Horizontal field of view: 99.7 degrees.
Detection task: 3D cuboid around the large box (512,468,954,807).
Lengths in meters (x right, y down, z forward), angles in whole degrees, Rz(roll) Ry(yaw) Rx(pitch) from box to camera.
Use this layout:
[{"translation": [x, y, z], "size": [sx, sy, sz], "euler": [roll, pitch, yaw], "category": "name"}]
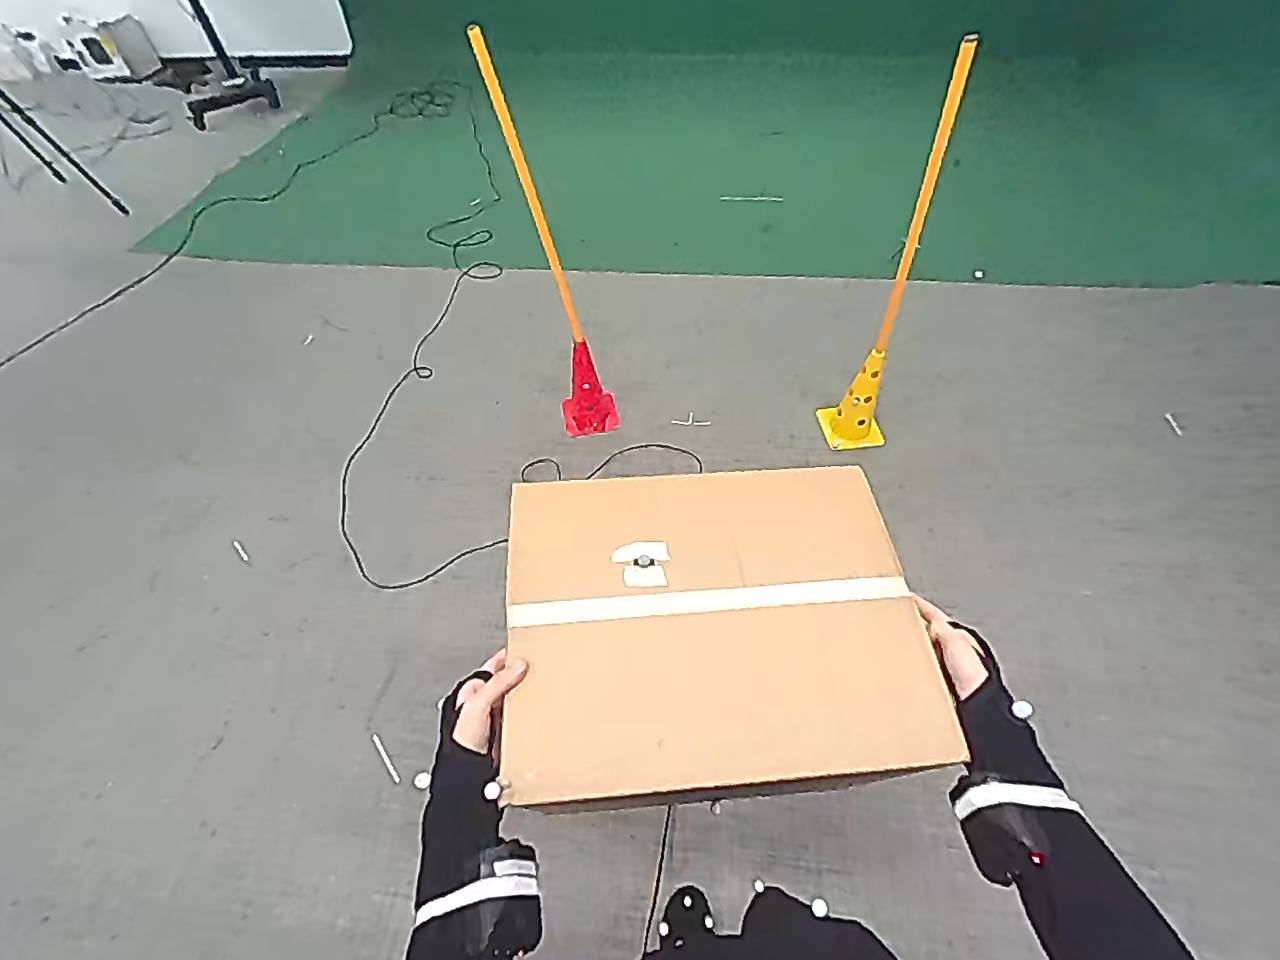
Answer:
[{"translation": [0.074, 0.208, 0.677], "size": [0.408, 0.320, 0.320], "euler": [-4, 56, -3], "category": "large box"}]
